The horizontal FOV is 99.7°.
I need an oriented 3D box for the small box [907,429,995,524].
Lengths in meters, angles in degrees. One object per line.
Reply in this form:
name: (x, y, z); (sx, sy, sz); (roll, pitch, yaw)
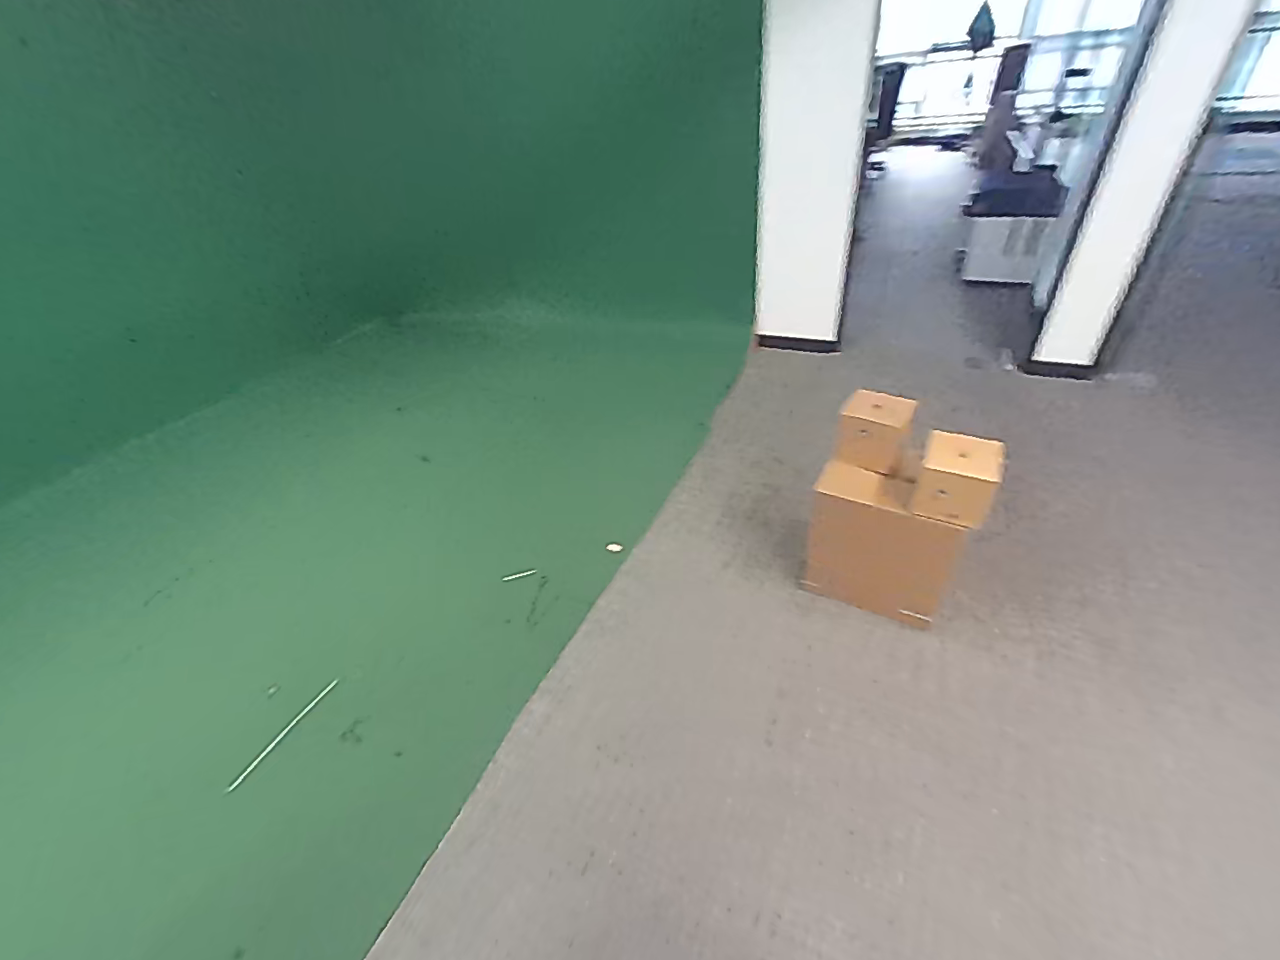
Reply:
small box: (0.820, -0.008, 1.434); (0.168, 0.176, 0.179); (15, 44, 25)

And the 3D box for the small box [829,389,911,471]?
small box: (0.688, -0.149, 1.631); (0.179, 0.176, 0.168); (21, 46, 30)
